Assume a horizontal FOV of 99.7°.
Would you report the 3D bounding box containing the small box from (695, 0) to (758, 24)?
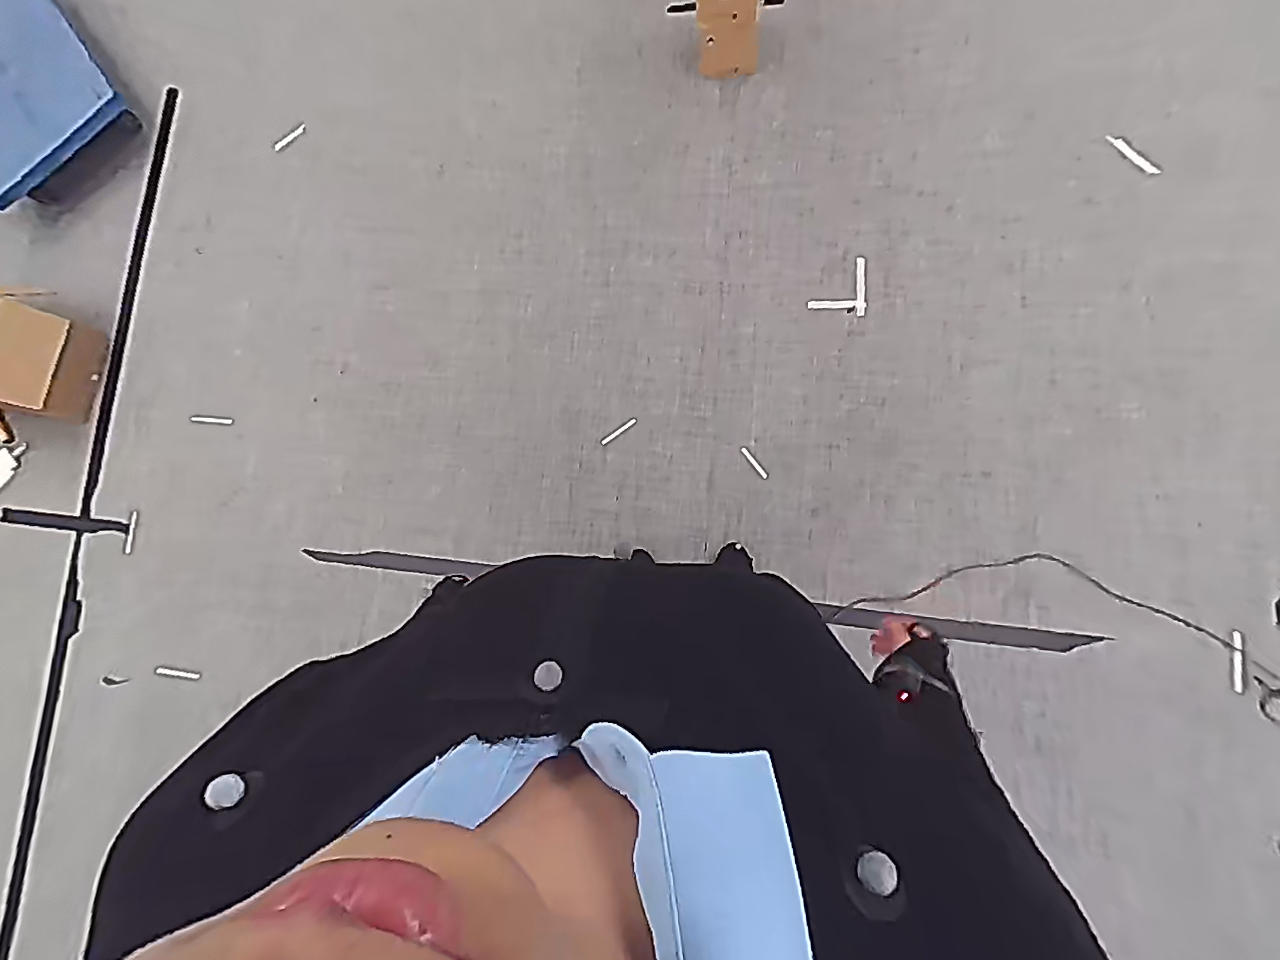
[{"bbox_3d":[0.238,-1.363,1.438,0.168,0.176,0.179,8,83,9],"label":"small box"}]
